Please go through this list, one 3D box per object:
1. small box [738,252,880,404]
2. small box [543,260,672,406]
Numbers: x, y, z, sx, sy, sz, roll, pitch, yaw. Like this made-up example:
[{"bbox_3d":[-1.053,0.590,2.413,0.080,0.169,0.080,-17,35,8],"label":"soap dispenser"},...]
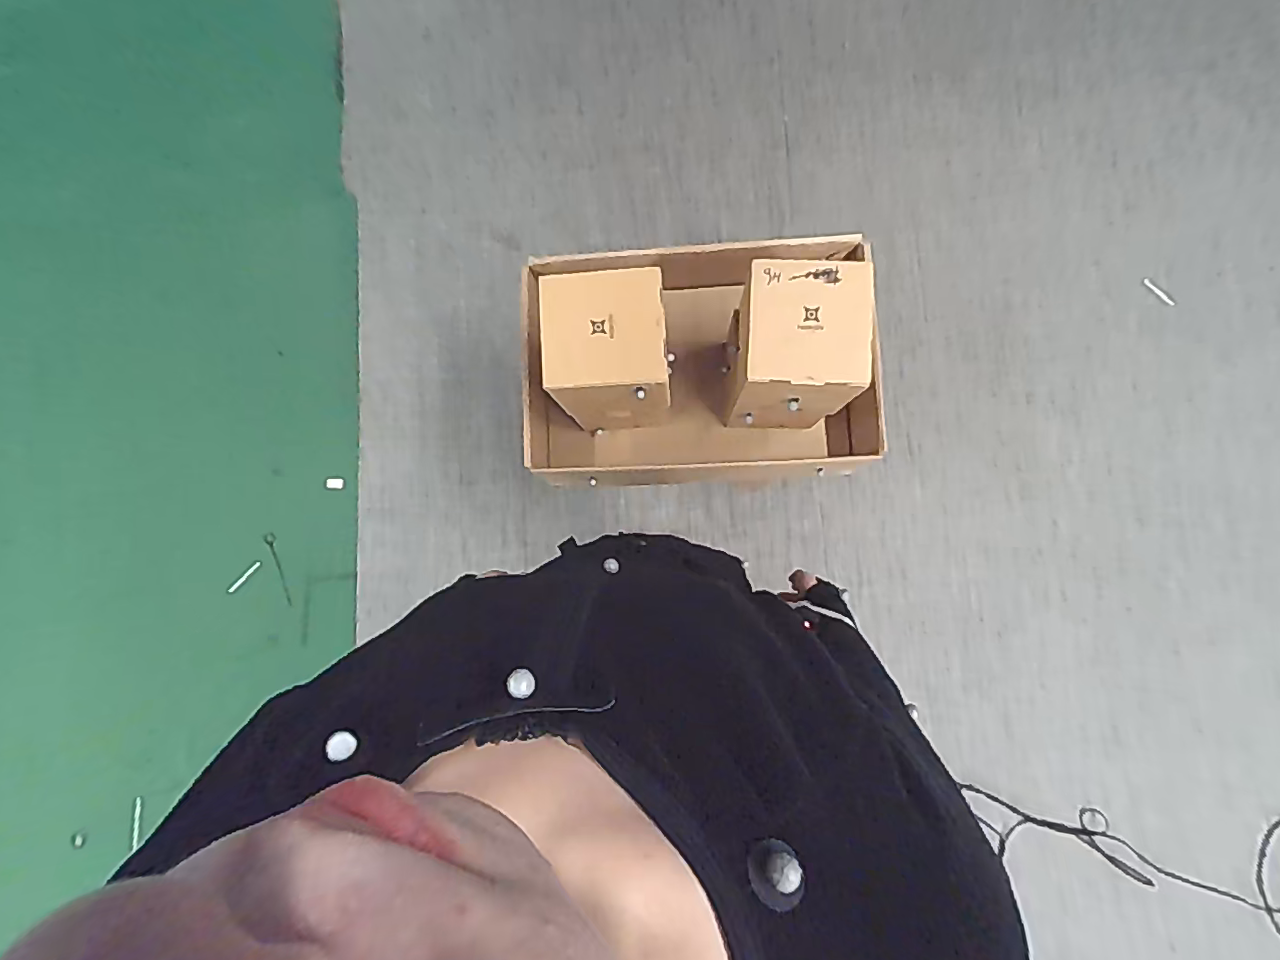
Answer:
[{"bbox_3d":[0.240,-0.215,0.806,0.168,0.176,0.179,5,86,5],"label":"small box"},{"bbox_3d":[-0.042,-0.214,0.831,0.179,0.176,0.168,-3,85,3],"label":"small box"}]
